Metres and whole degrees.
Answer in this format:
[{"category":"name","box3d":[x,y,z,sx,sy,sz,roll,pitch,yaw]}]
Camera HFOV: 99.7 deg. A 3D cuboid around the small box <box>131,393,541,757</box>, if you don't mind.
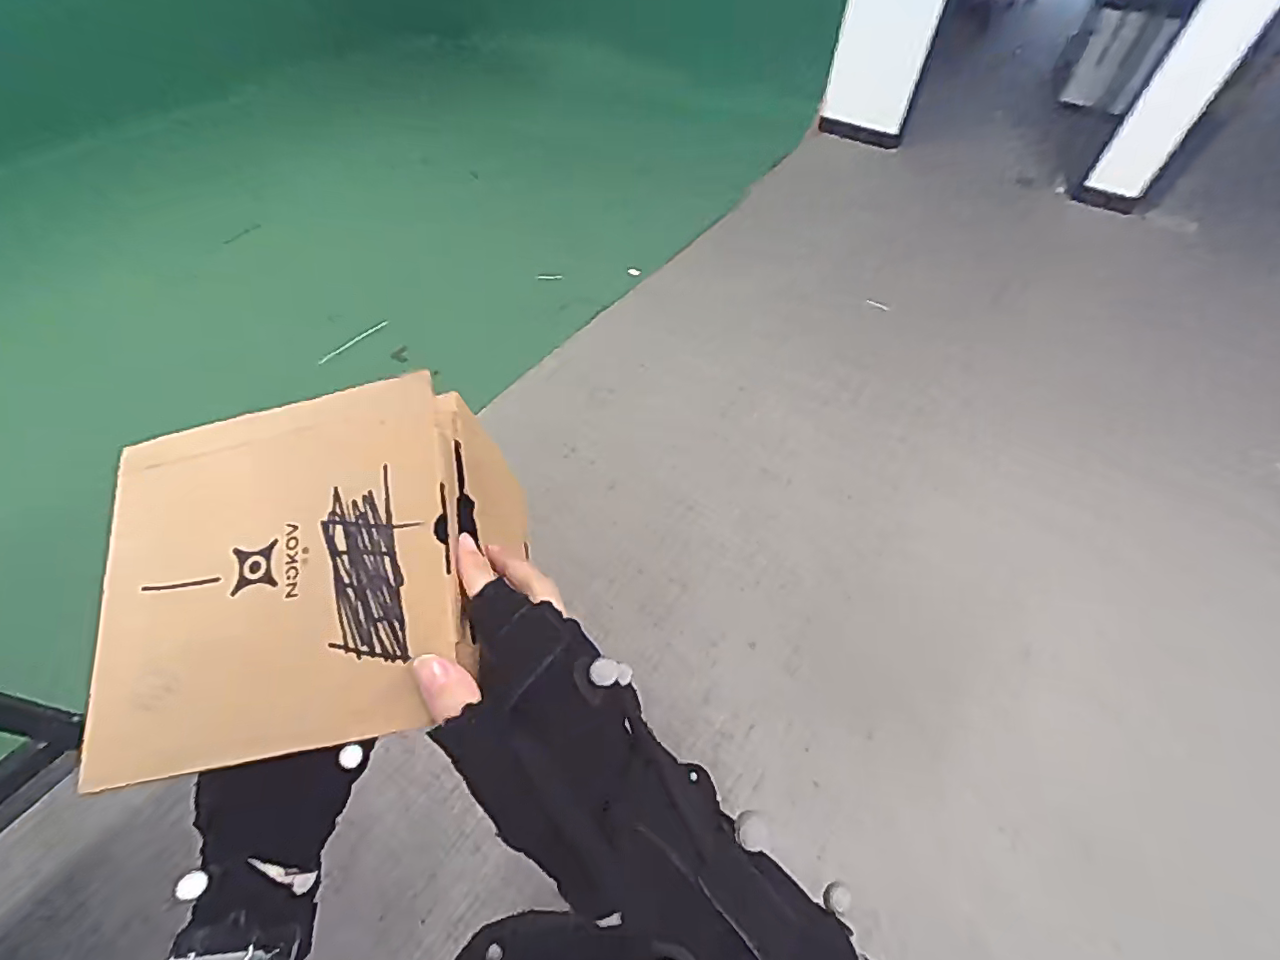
[{"category":"small box","box3d":[-0.169,0.065,0.359,0.179,0.176,0.168,-11,72,-2]}]
